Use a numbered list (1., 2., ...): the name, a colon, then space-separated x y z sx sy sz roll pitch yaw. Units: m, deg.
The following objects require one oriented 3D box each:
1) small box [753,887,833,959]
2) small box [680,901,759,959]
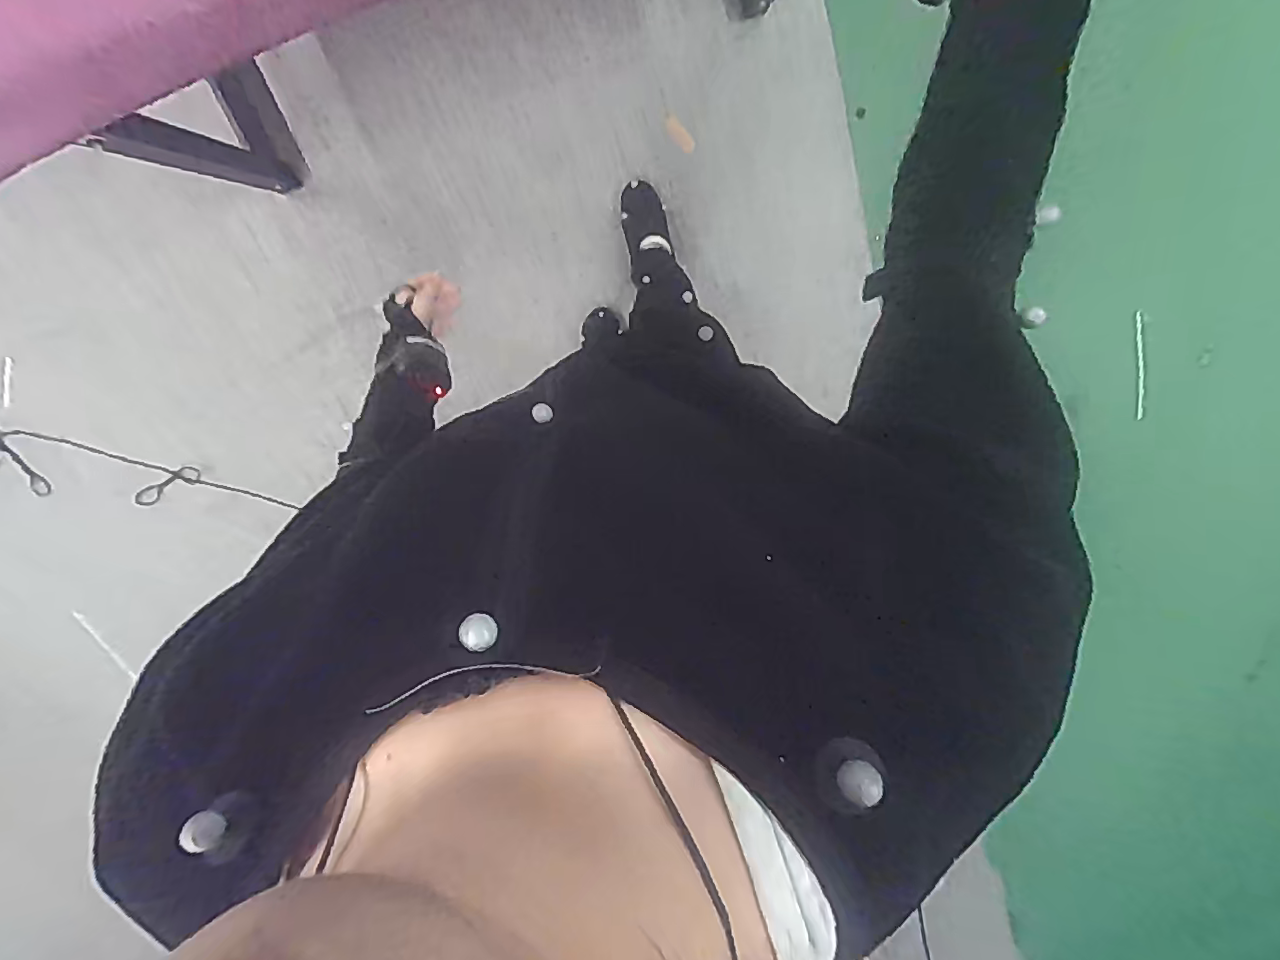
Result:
1. small box: 0.434 1.295 1.513 0.168 0.176 0.179 -22 109 4
2. small box: 0.226 1.325 1.511 0.168 0.176 0.179 -30 108 7
